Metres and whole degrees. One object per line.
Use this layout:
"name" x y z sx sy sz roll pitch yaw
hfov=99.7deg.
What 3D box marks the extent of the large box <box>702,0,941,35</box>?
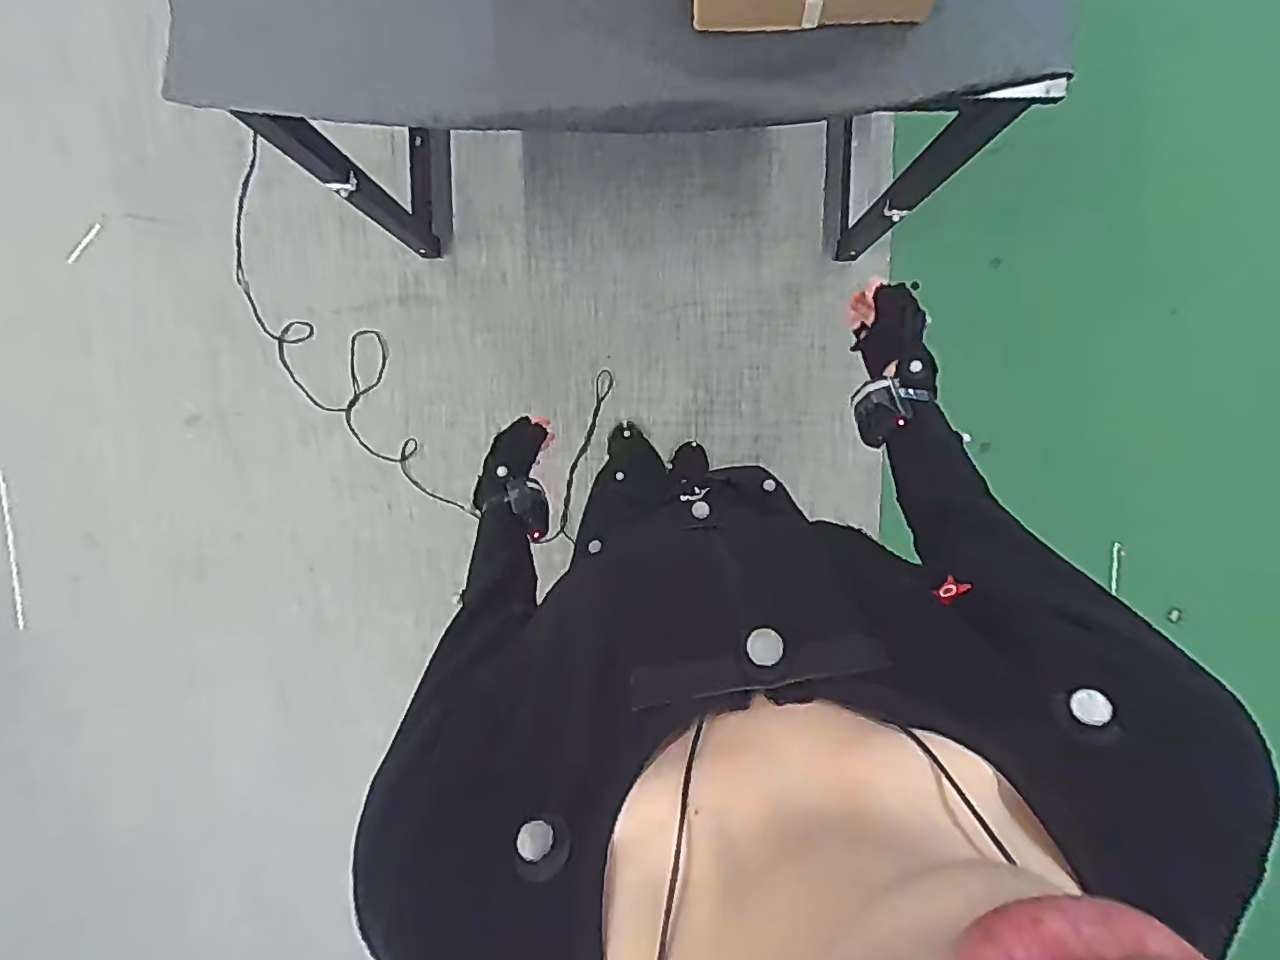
"large box" 0.221 -0.790 0.564 0.320 0.320 0.408 -1 93 2
